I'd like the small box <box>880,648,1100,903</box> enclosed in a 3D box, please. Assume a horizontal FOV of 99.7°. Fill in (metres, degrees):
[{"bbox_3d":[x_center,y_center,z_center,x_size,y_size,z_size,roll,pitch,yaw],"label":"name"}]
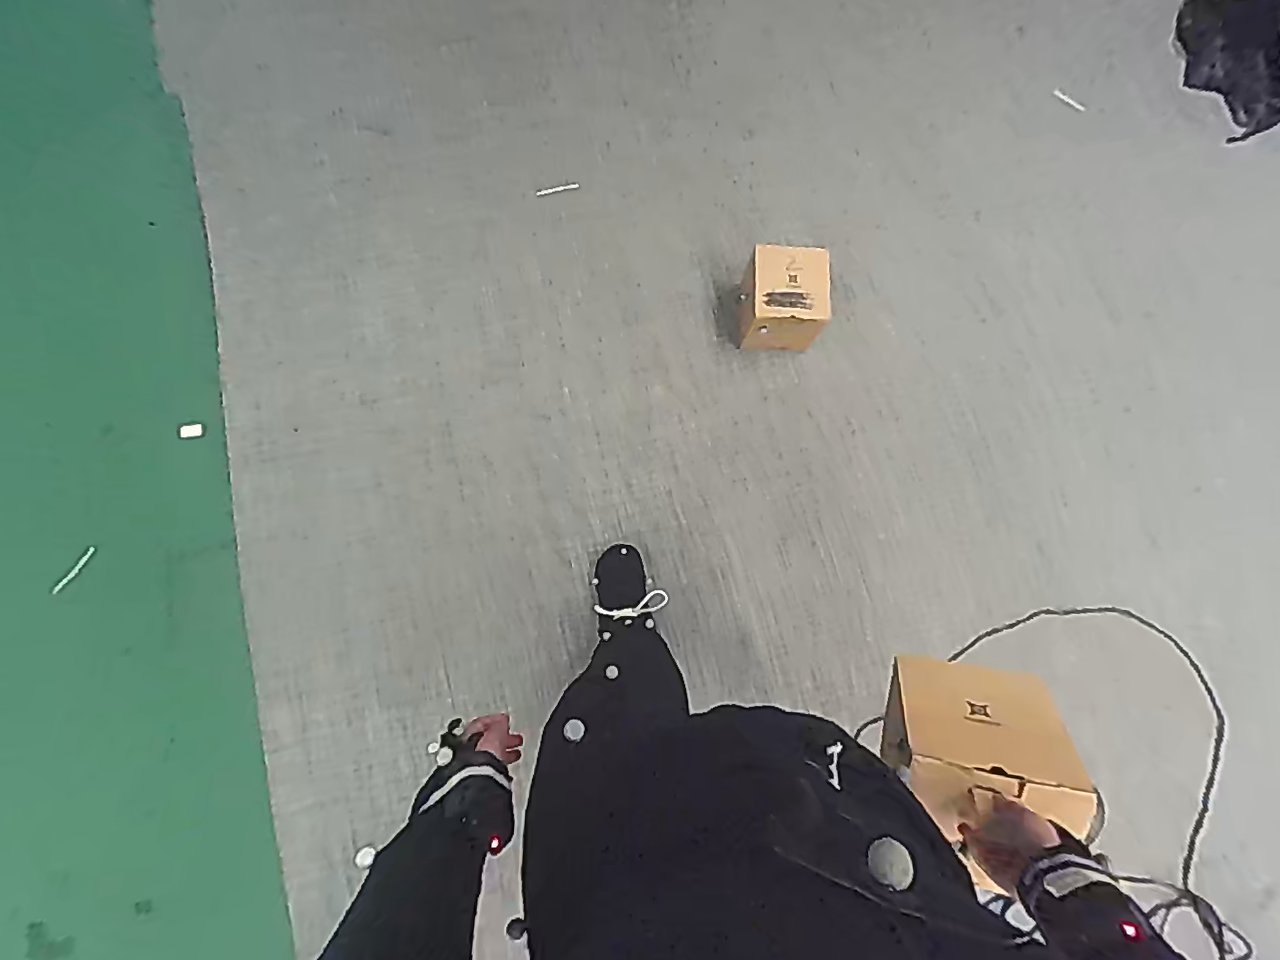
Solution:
[{"bbox_3d":[0.384,0.332,0.633,0.168,0.179,0.176,5,111,18],"label":"small box"}]
